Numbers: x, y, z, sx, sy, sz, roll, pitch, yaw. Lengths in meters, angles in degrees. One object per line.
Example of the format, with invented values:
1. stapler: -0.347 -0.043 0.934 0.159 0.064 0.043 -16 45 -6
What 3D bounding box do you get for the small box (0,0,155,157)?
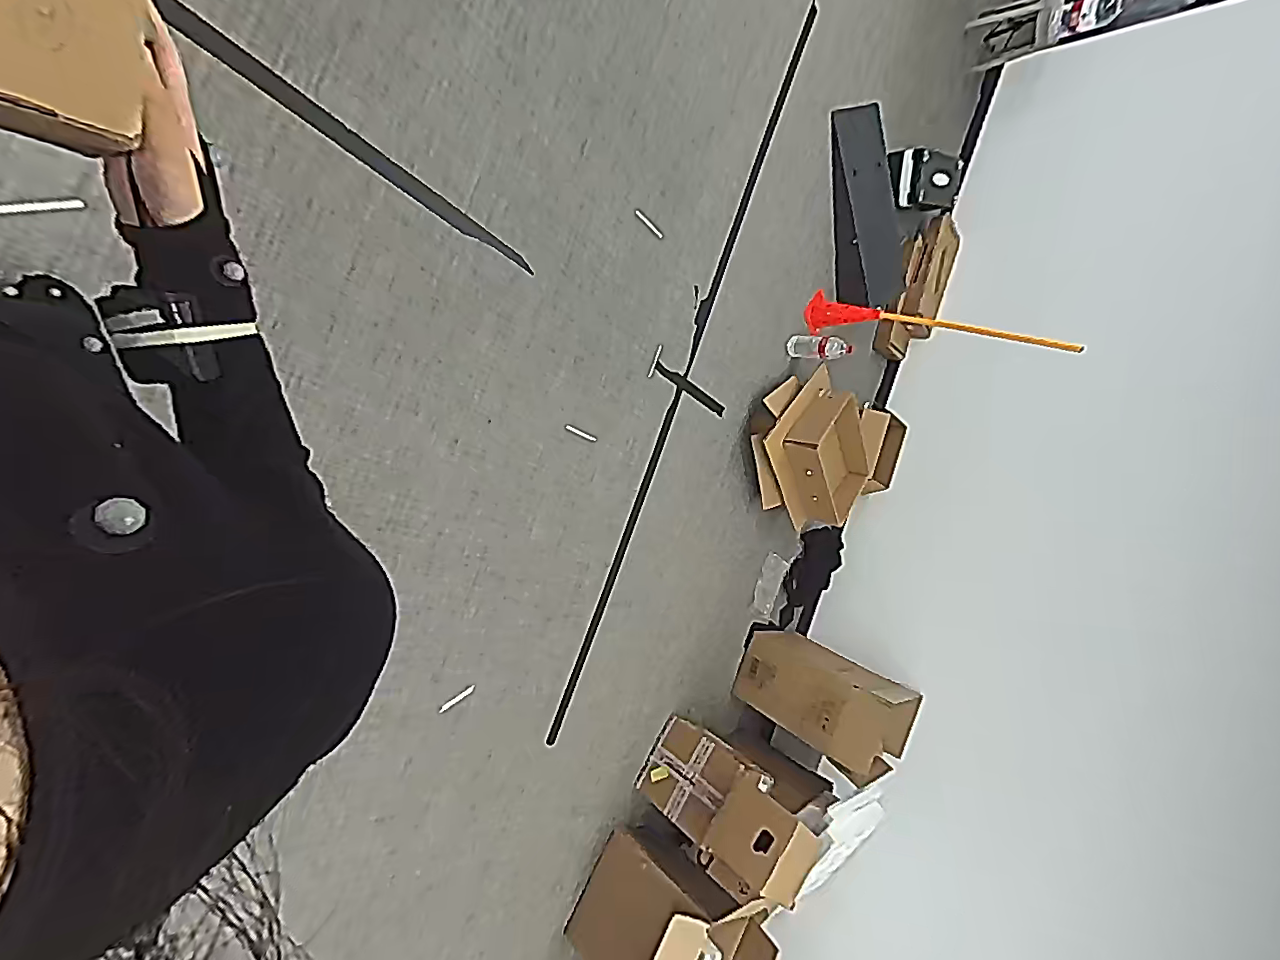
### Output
1. small box: -0.355 -0.281 0.261 0.168 0.176 0.179 -2 111 -51
